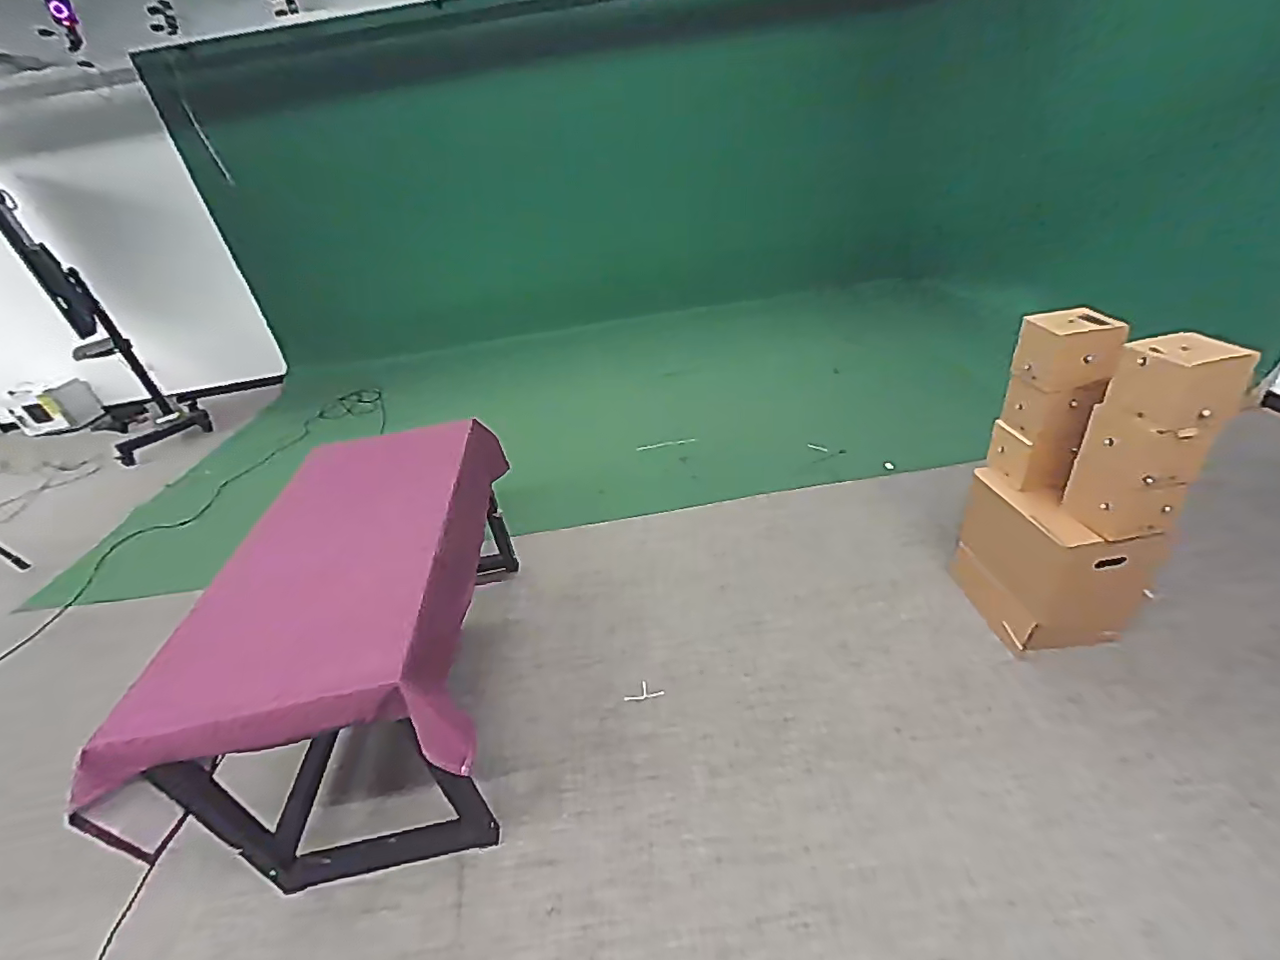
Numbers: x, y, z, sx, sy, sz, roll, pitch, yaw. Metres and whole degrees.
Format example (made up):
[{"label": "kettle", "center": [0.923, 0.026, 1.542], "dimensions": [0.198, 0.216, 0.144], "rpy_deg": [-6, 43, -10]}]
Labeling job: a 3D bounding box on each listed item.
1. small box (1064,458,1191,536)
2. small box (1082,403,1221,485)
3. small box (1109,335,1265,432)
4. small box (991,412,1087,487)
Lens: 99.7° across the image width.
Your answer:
[{"label": "small box", "center": [1.316, 0.040, 1.475], "dimensions": [0.168, 0.176, 0.179], "rpy_deg": [-9, 31, -1]}, {"label": "small box", "center": [1.295, -0.096, 1.386], "dimensions": [0.168, 0.176, 0.179], "rpy_deg": [-8, 31, 0]}, {"label": "small box", "center": [1.289, -0.232, 1.292], "dimensions": [0.179, 0.176, 0.168], "rpy_deg": [-9, 32, -3]}, {"label": "small box", "center": [1.238, -0.093, 1.696], "dimensions": [0.179, 0.176, 0.168], "rpy_deg": [-8, 34, 1]}]
